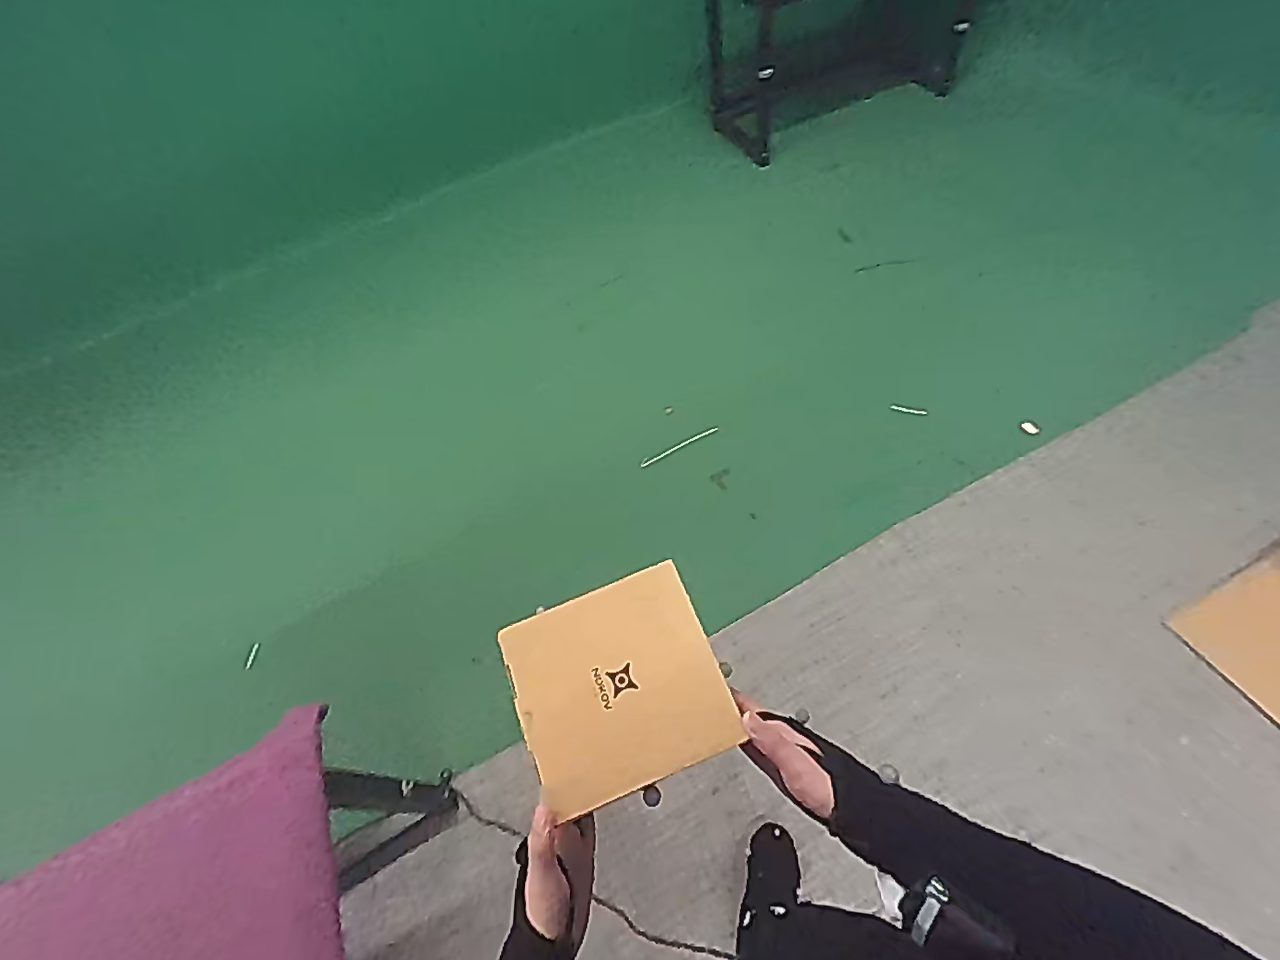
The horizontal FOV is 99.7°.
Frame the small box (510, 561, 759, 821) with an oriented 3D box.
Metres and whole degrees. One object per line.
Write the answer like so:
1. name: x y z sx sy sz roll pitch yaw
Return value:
1. small box: -0.003 0.203 0.538 0.179 0.176 0.168 -22 66 -3
